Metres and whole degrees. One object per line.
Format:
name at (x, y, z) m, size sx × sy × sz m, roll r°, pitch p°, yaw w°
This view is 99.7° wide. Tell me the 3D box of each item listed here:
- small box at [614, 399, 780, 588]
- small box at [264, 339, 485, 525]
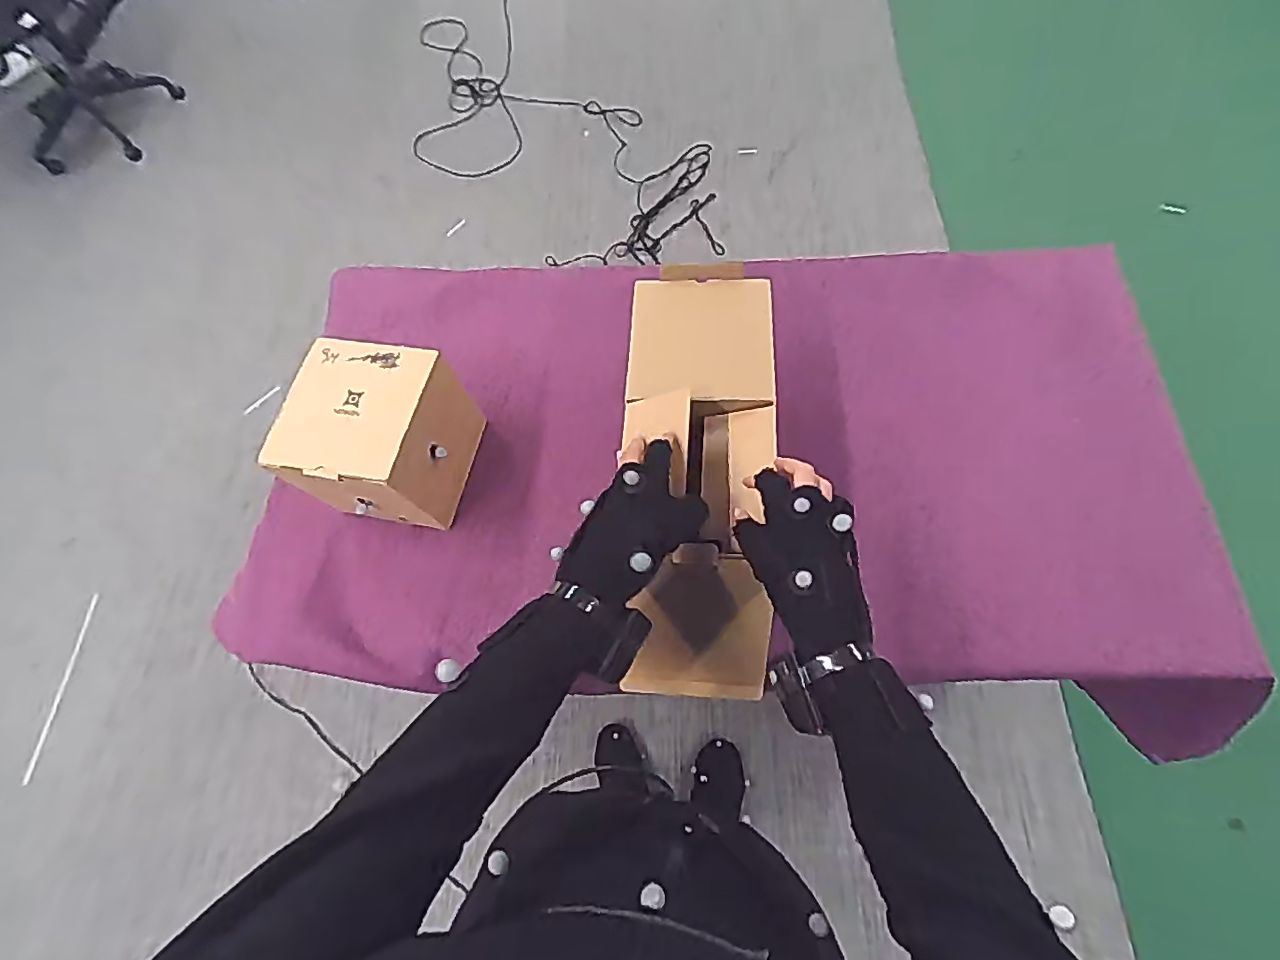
small box at (0.069, 0.023, 0.629) m, size 0.168 × 0.176 × 0.179 m, roll 2°, pitch 67°, yaw 6°
small box at (-0.322, -0.054, 0.699) m, size 0.168 × 0.176 × 0.179 m, roll 9°, pitch 69°, yaw 9°
